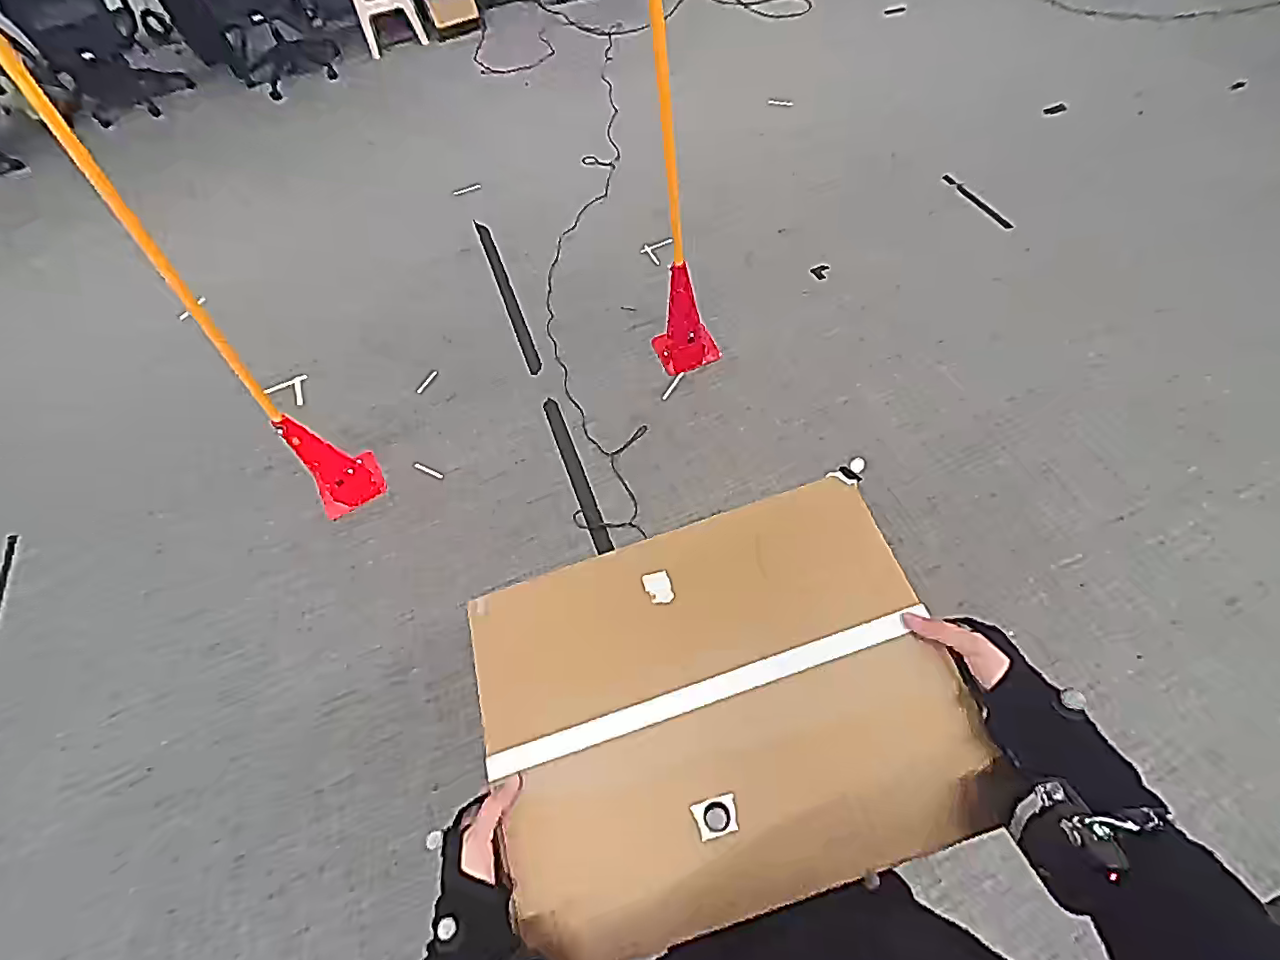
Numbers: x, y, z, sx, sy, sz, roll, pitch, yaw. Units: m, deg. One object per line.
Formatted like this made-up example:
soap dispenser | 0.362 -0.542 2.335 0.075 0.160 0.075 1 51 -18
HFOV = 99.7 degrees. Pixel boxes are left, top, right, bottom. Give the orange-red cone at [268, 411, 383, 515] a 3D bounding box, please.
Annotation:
orange-red cone | -0.969 -0.081 1.613 0.199 0.360 0.198 -30 59 -9
